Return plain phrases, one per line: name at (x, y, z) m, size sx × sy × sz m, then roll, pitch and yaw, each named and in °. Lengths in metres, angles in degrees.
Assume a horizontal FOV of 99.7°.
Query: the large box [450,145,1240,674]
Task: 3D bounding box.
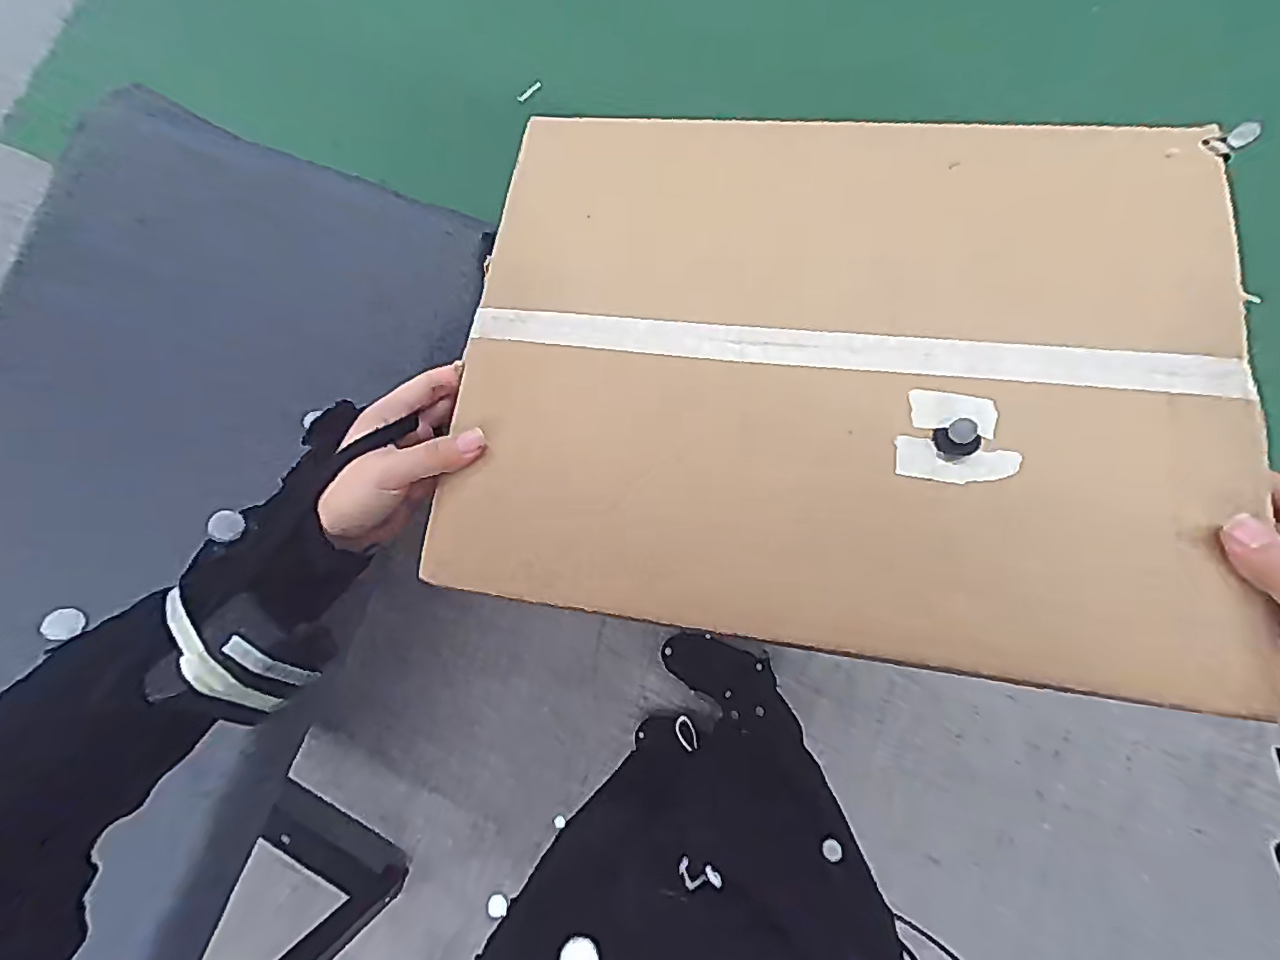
large box at (0.120, -0.032, 0.459) m, size 0.408 × 0.320 × 0.320 m, roll 7°, pitch 76°, yaw 8°
